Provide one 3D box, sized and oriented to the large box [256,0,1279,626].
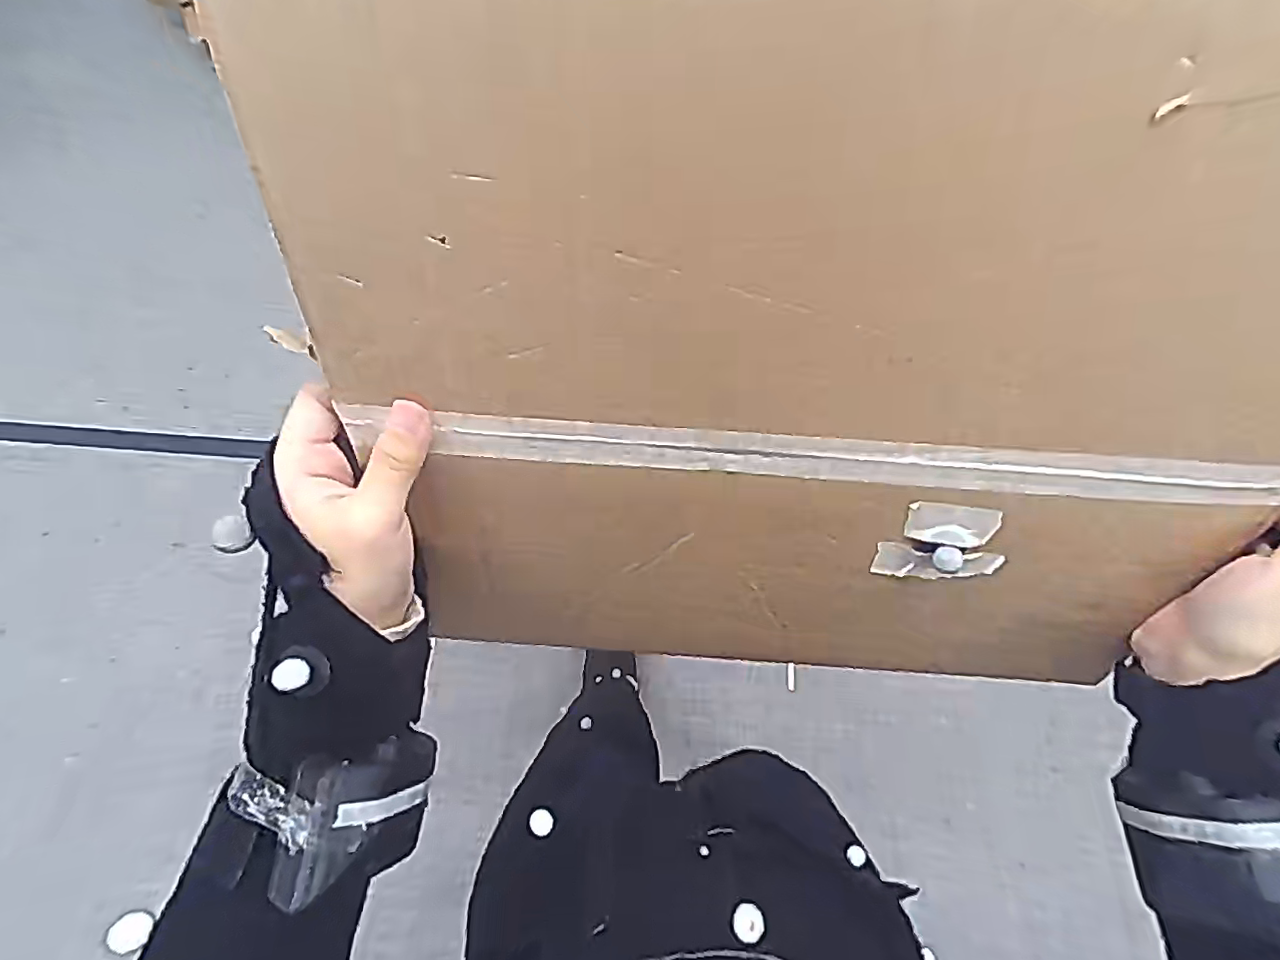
[{"bbox_3d":[0.086,-0.133,0.343,0.408,0.320,0.320,3,40,0],"label":"large box"}]
